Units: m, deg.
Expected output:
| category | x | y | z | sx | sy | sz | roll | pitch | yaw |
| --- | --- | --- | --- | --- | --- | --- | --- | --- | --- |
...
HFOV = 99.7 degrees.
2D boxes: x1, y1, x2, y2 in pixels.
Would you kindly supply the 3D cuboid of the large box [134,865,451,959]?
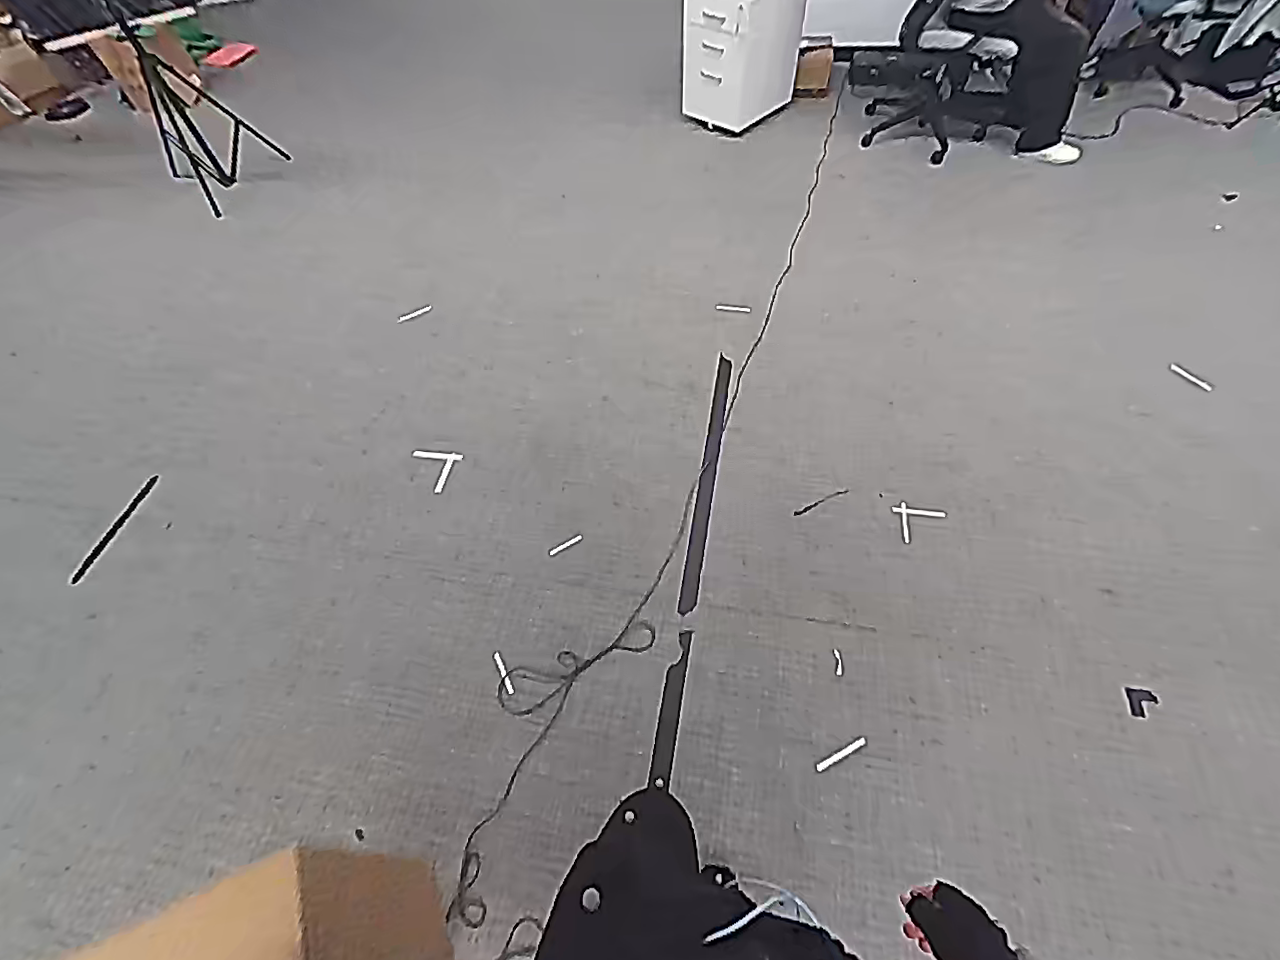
| category | x | y | z | sx | sy | sz | roll | pitch | yaw |
| --- | --- | --- | --- | --- | --- | --- | --- | --- | --- |
| large box | -0.427 | 0.701 | 0.620 | 0.320 | 0.408 | 0.320 | -23 | 54 | -13 |
